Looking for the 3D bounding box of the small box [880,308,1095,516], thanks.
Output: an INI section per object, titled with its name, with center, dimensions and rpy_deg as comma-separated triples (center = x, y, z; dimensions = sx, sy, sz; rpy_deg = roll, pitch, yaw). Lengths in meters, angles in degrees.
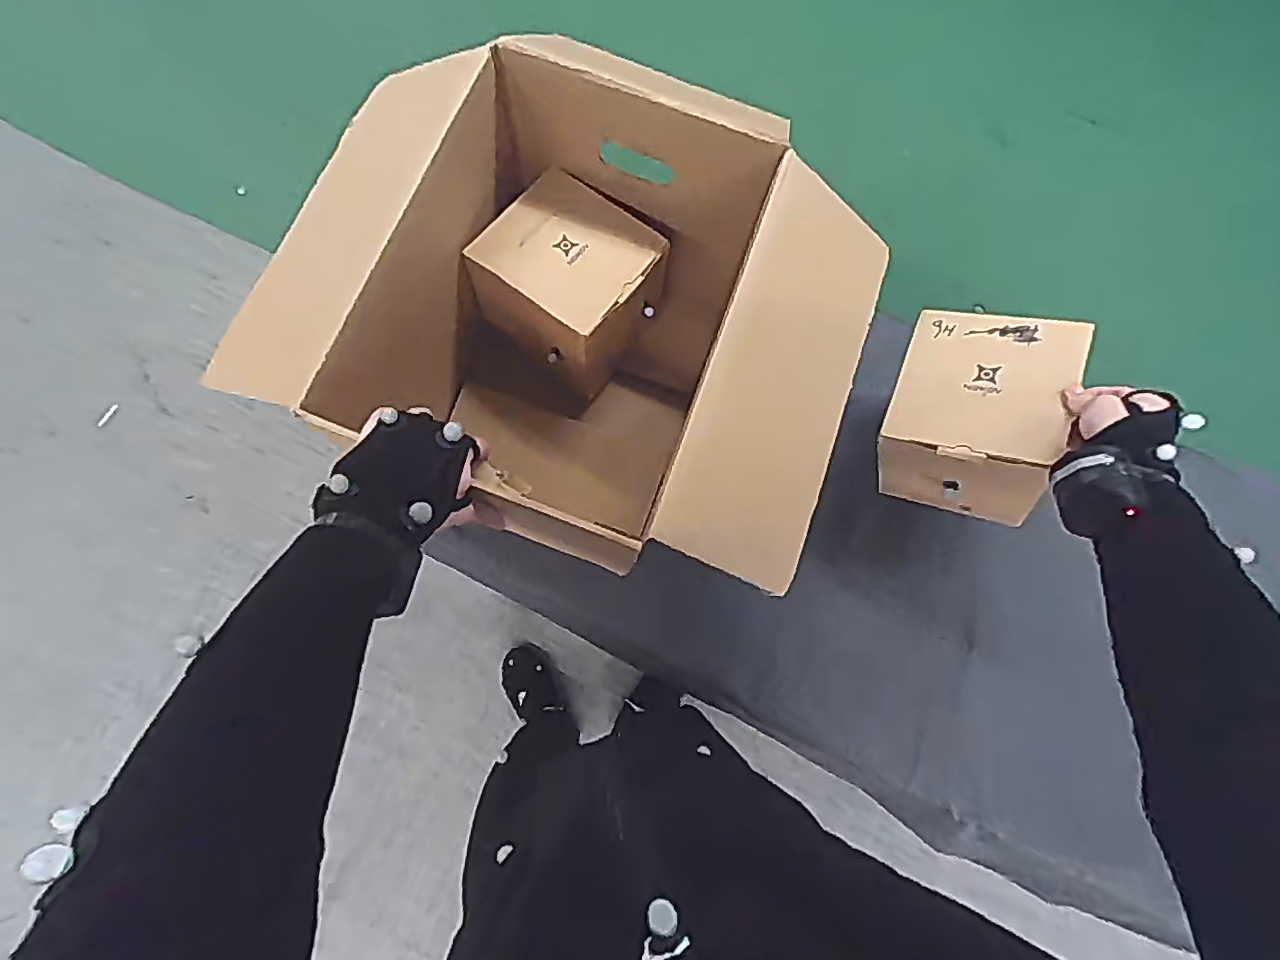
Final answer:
[small box]
center = 0.402, -0.075, 0.651
dimensions = 0.168, 0.176, 0.179
rpy_deg = 18, 76, 29
